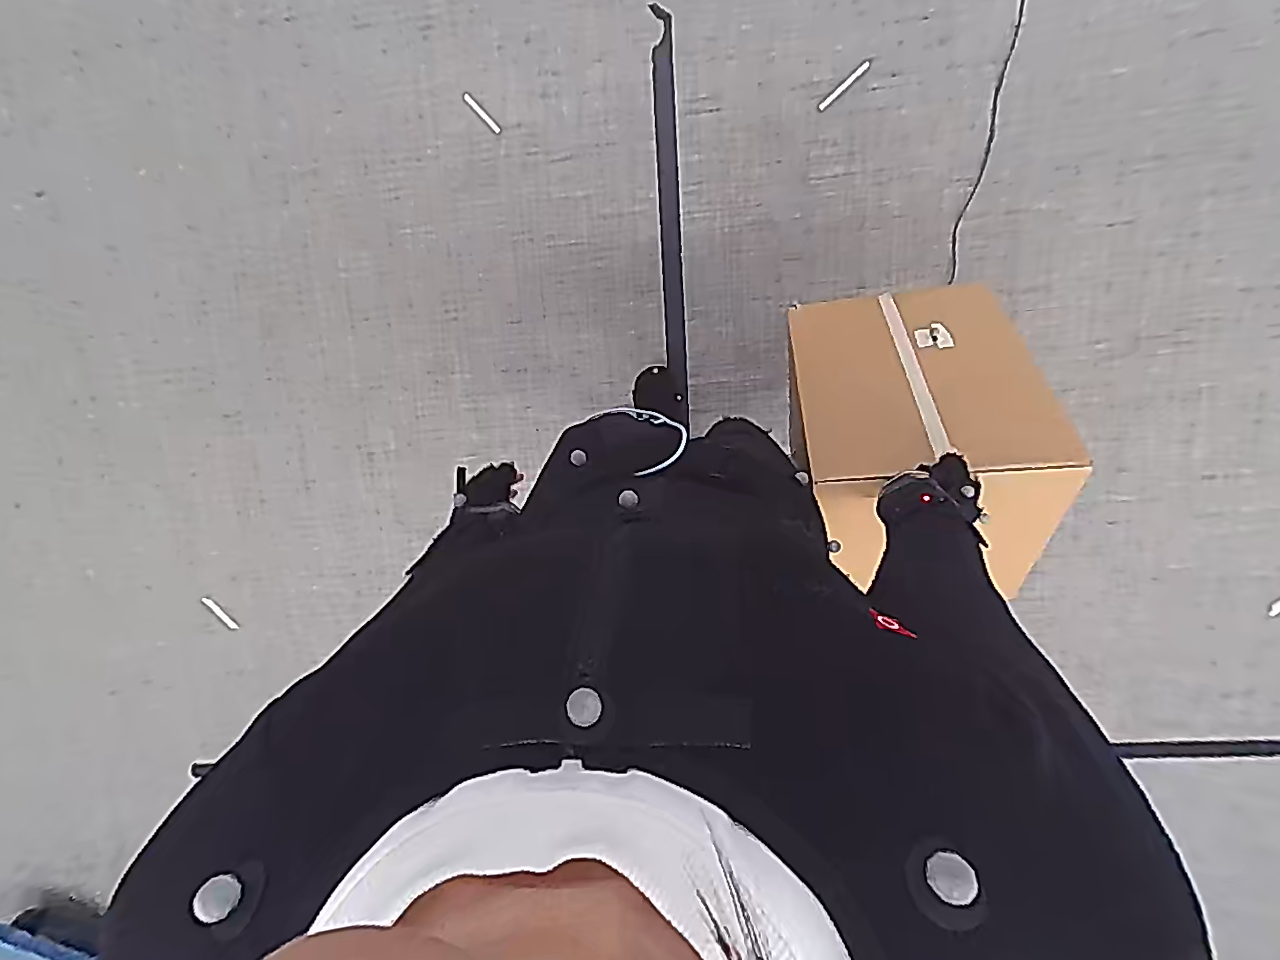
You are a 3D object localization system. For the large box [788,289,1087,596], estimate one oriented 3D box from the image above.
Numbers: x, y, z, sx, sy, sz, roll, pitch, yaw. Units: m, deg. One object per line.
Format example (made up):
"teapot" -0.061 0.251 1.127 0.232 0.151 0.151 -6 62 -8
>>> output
"large box" 0.426 -0.060 0.901 0.320 0.408 0.320 -3 137 11
